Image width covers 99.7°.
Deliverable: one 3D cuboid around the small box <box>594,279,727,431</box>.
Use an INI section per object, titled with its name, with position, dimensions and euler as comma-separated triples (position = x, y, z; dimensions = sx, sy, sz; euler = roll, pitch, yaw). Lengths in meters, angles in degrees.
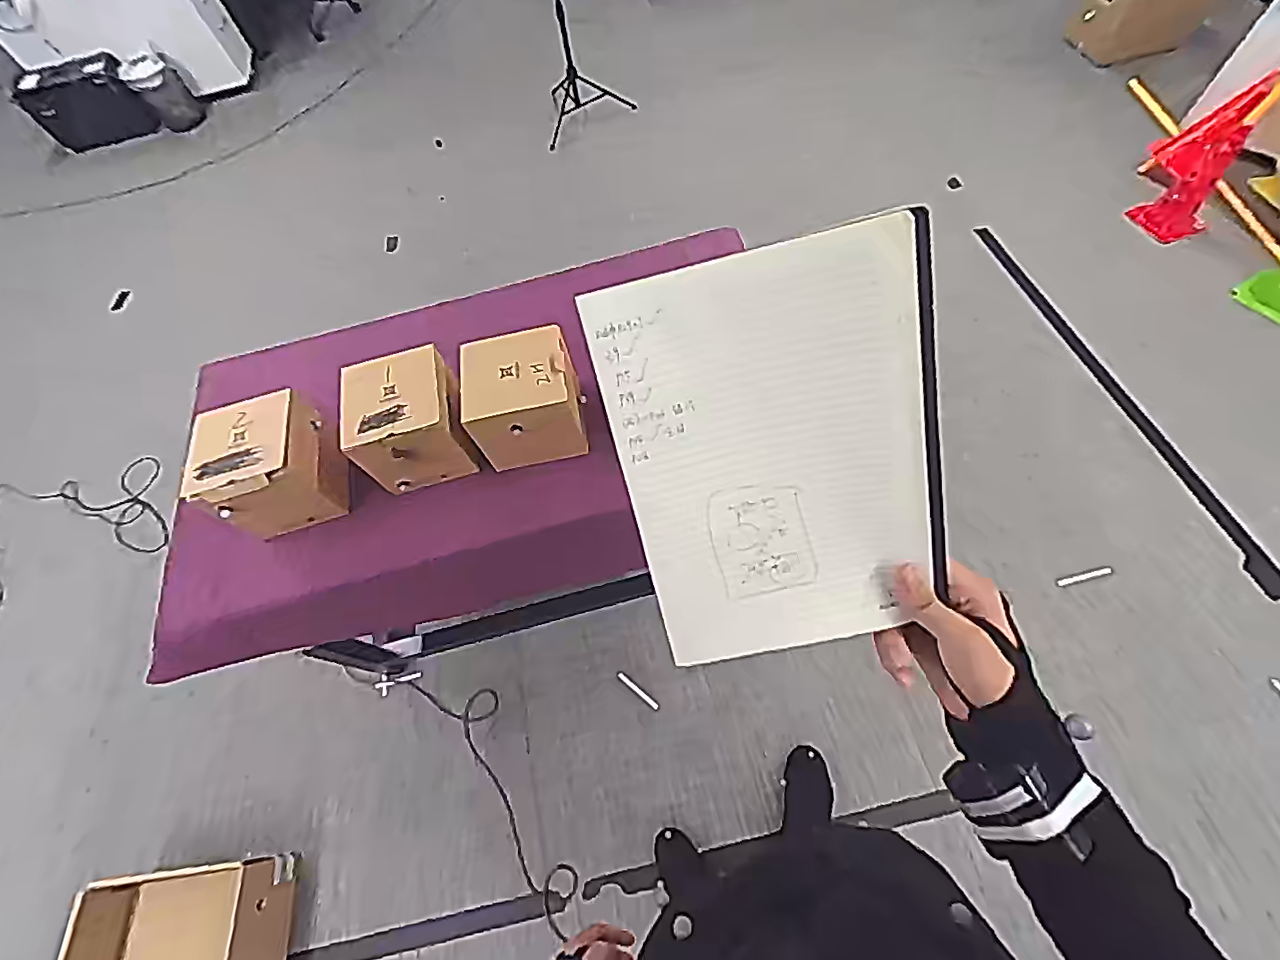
[small box]
position = 0.041, -0.210, 0.957
dimensions = 0.168, 0.176, 0.179
euler = -27, 62, -7
